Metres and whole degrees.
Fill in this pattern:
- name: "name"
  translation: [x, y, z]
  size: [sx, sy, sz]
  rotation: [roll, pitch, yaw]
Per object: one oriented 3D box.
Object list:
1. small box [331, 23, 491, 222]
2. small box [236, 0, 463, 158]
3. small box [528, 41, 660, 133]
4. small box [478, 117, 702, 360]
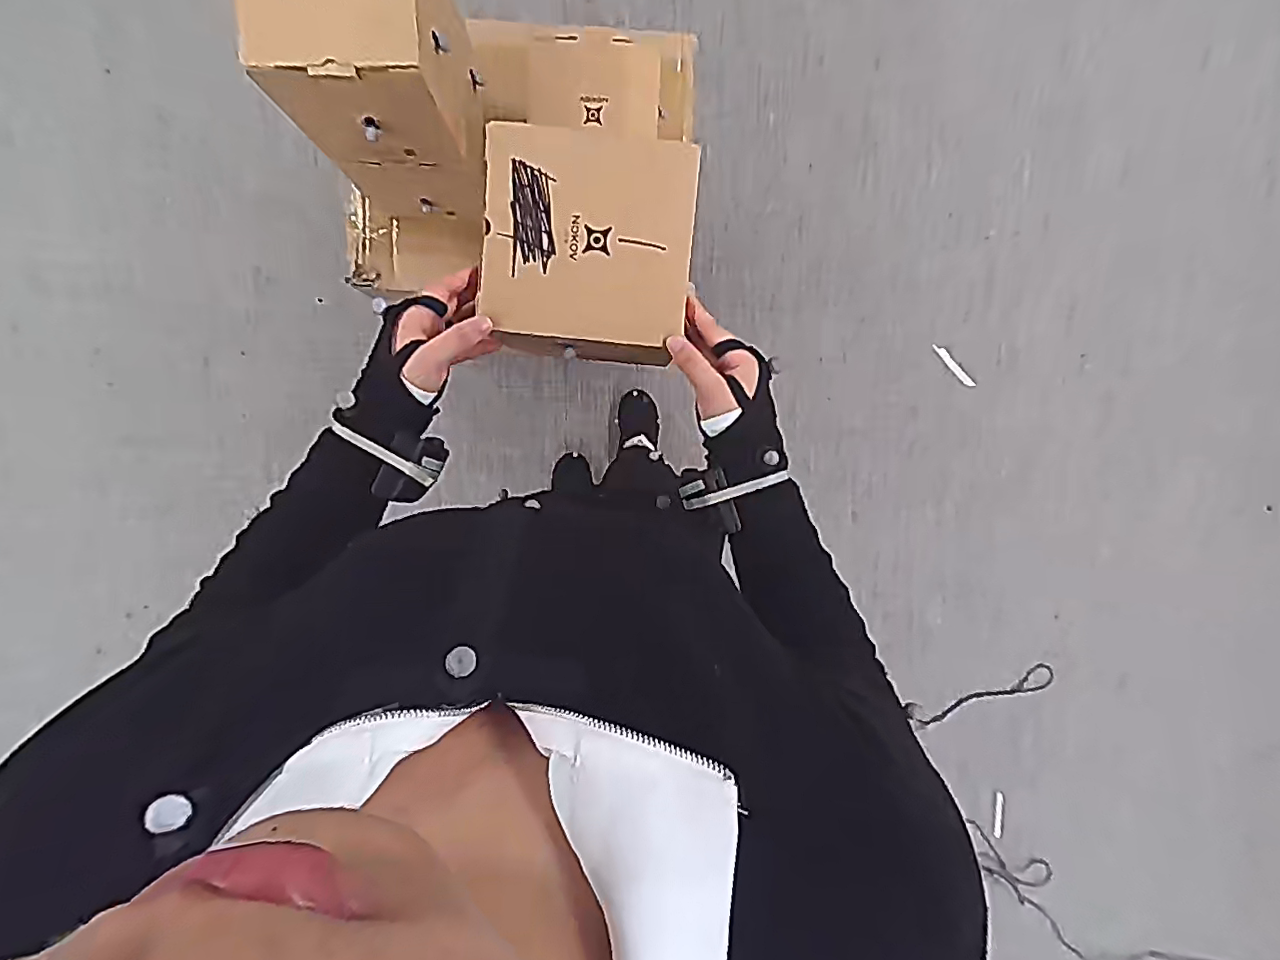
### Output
- name: "small box"
  translation: [-0.303, -0.482, 0.745]
  size: [0.168, 0.176, 0.179]
  rotation: [0, 94, -3]
- name: "small box"
  translation: [-0.295, -0.473, 0.581]
  size: [0.168, 0.176, 0.179]
  rotation: [-2, 95, -4]
- name: "small box"
  translation: [-0.061, -0.463, 0.758]
  size: [0.168, 0.176, 0.179]
  rotation: [1, 95, 0]
- name: "small box"
  translation: [-0.045, -0.214, 0.526]
  size: [0.179, 0.176, 0.168]
  rotation: [4, 96, -3]
